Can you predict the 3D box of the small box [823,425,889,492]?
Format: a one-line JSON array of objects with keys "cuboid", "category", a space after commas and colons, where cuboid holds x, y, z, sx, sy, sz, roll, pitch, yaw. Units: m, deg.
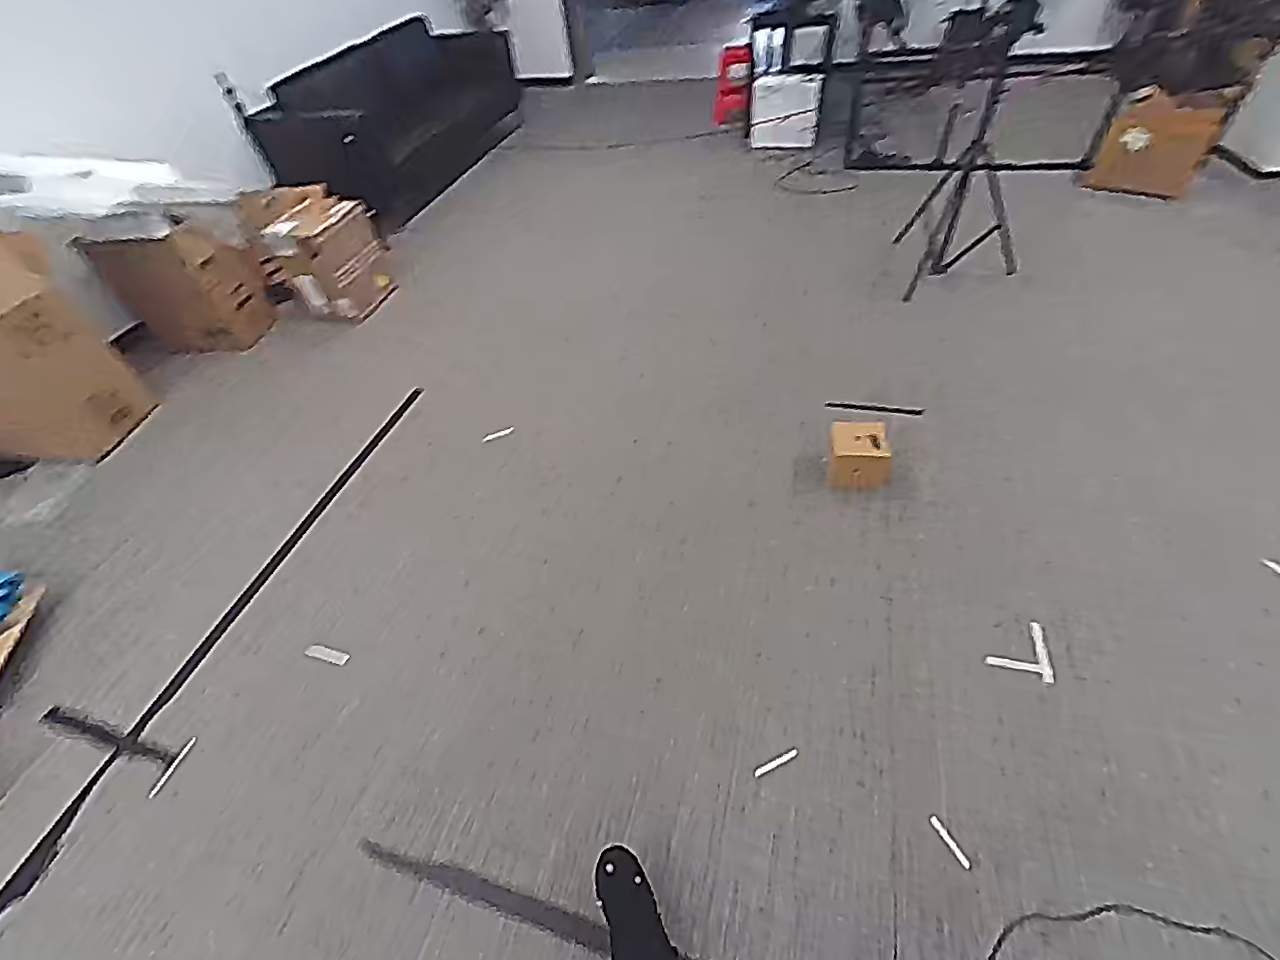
[{"cuboid": [0.749, -0.073, 1.888, 0.179, 0.176, 0.168, 1, 48, 10], "category": "small box"}]
